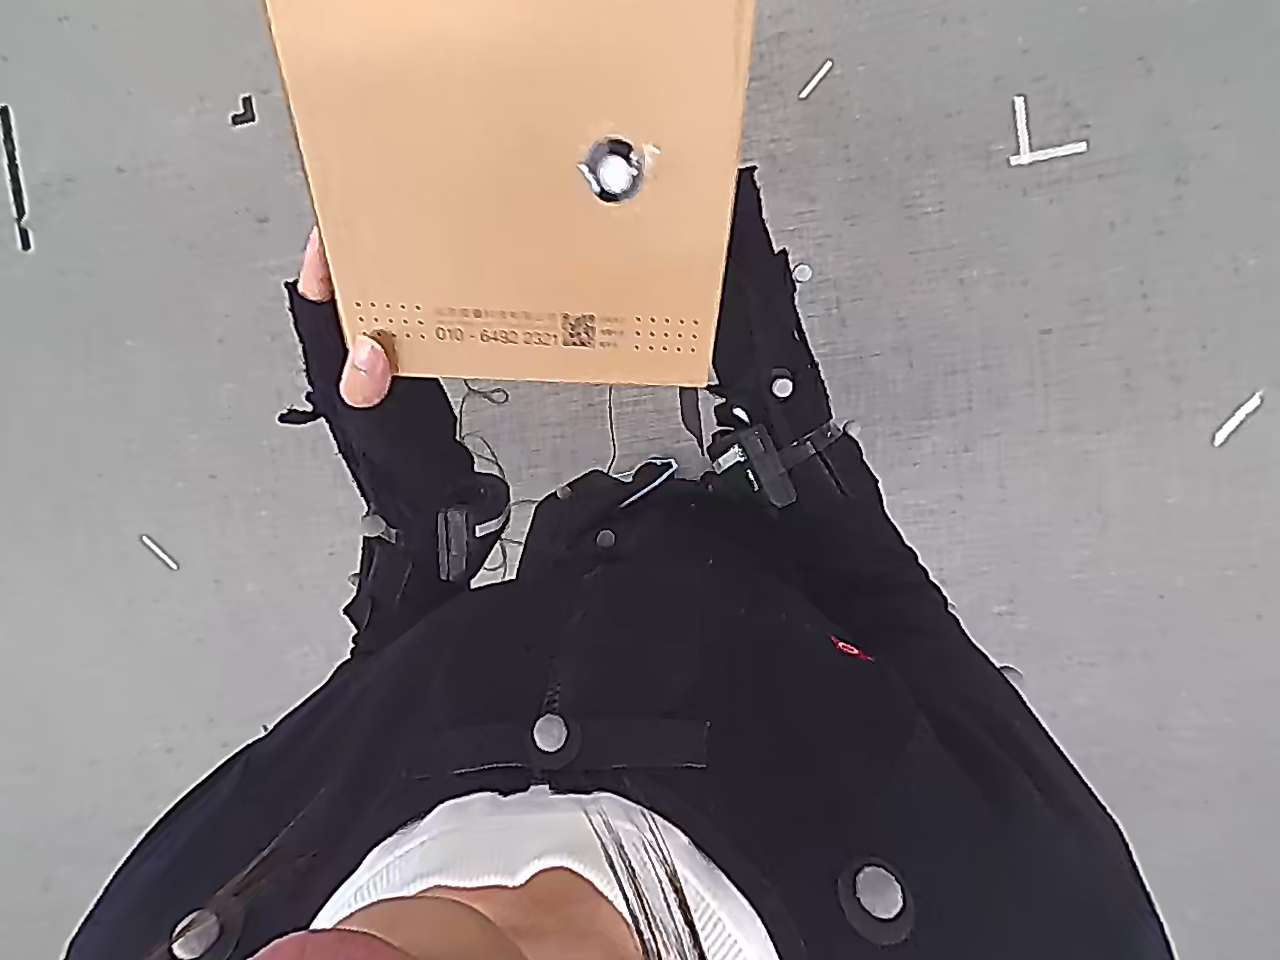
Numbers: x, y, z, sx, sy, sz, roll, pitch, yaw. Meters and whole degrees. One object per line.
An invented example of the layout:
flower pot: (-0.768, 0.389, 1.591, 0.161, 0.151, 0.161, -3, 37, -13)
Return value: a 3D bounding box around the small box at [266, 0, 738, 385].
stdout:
small box: (-0.045, -0.158, 0.284, 0.168, 0.179, 0.176, 2, 123, -1)
